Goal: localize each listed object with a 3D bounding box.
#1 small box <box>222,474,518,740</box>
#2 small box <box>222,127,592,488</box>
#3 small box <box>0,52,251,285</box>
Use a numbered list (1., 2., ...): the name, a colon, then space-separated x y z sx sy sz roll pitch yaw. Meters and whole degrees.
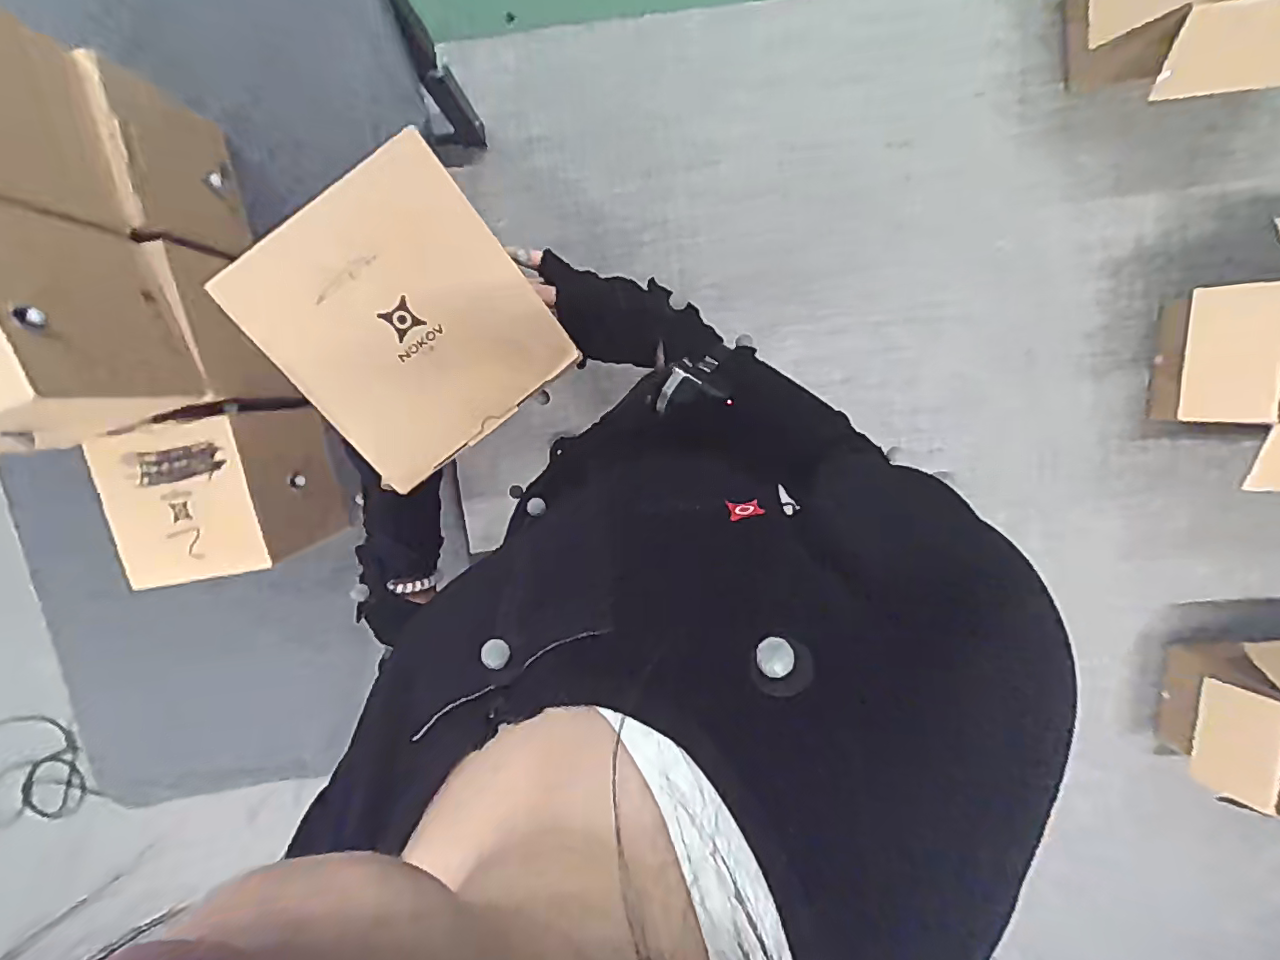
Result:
1. small box: -0.251 0.113 0.534 0.176 0.168 0.179 27 82 6
2. small box: -0.159 -0.126 0.433 0.168 0.176 0.179 -37 108 0
3. small box: -0.597 -0.329 0.610 0.179 0.176 0.168 -10 100 1
